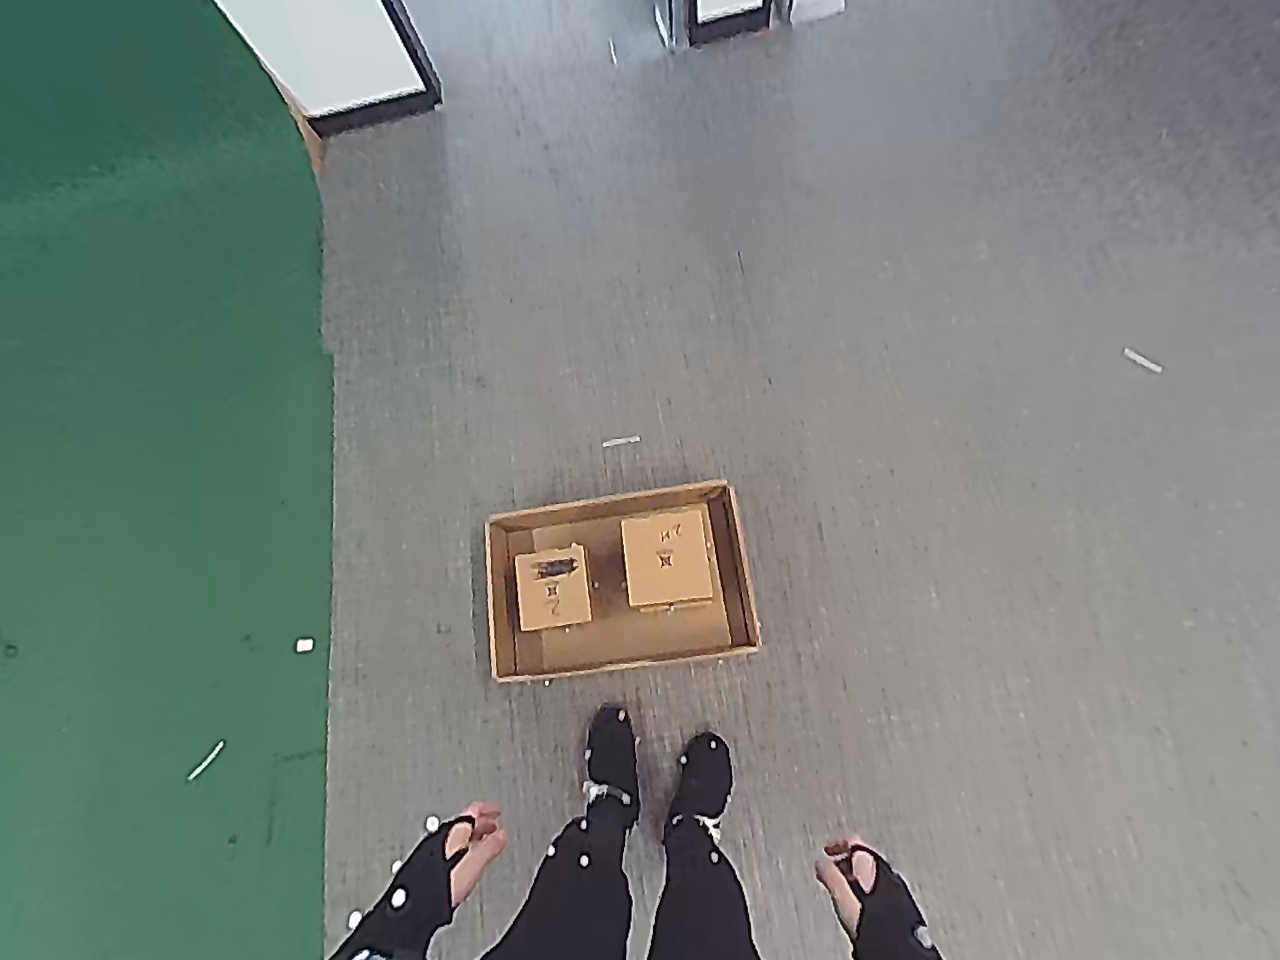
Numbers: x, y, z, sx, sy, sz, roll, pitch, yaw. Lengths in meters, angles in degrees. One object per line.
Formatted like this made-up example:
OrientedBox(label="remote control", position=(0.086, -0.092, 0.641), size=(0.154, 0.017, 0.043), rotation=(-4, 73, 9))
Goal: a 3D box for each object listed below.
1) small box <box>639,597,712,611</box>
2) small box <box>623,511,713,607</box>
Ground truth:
OrientedBox(label="small box", position=(0.082, 0.221, 1.303), size=(0.168, 0.176, 0.179), rotation=(-8, 74, 5))
OrientedBox(label="small box", position=(0.063, 0.174, 1.145), size=(0.168, 0.176, 0.179), rotation=(-7, 73, 5))
